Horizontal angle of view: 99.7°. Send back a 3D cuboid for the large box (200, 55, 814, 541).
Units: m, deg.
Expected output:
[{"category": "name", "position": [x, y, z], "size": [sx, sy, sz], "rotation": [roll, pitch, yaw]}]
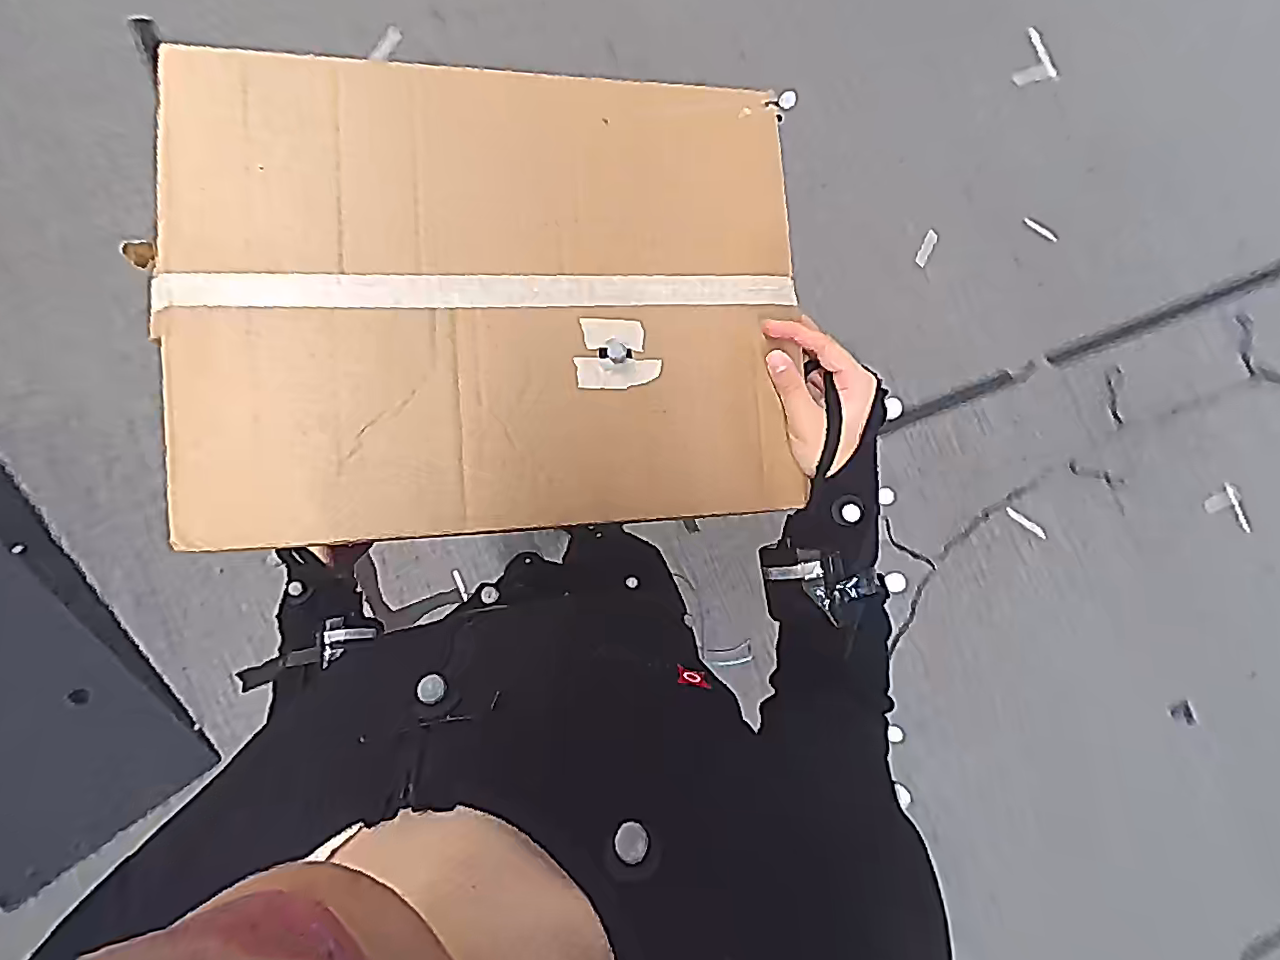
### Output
[{"category": "large box", "position": [-0.103, -0.117, 0.514], "size": [0.408, 0.320, 0.320], "rotation": [-2, 87, -11]}]
